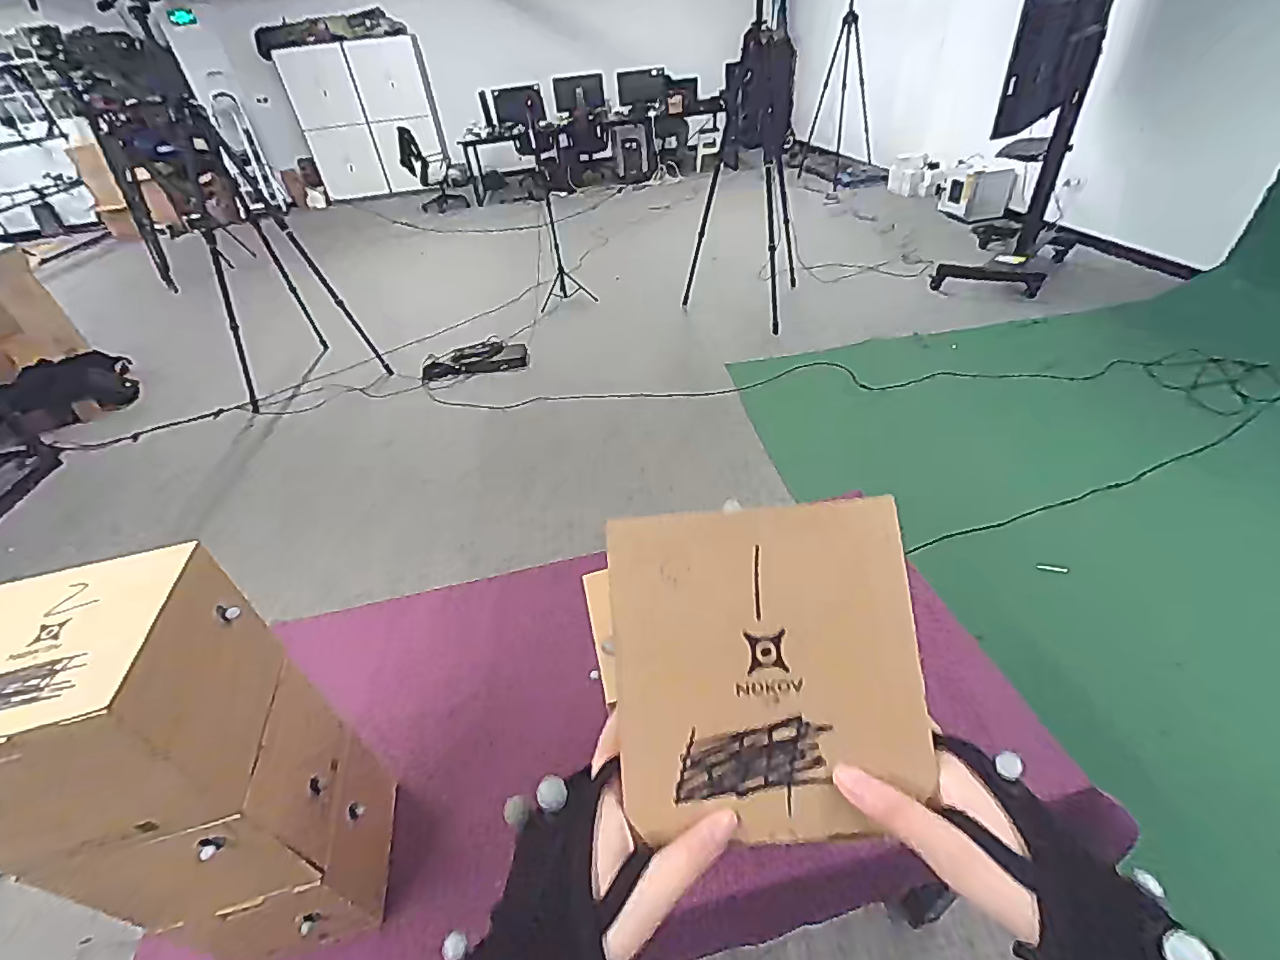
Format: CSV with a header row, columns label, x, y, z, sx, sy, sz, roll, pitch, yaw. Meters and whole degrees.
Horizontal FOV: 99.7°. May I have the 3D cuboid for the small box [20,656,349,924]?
label,x,y,z,sx,sy,sz,roll,pitch,yaw
small box,-0.436,0.319,0.561,0.179,0.176,0.168,-13,39,-10

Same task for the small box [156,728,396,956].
label,x,y,z,sx,sy,sz,roll,pitch,yaw
small box,-0.417,0.445,0.663,0.168,0.176,0.179,-12,38,-8

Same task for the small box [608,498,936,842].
label,x,y,z,sx,sy,sz,roll,pitch,yaw
small box,0.071,0.113,0.374,0.168,0.176,0.179,-5,80,1

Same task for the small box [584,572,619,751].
label,x,y,z,sx,sy,sz,roll,pitch,yaw
small box,0.043,0.207,0.623,0.179,0.176,0.168,-12,39,-6
